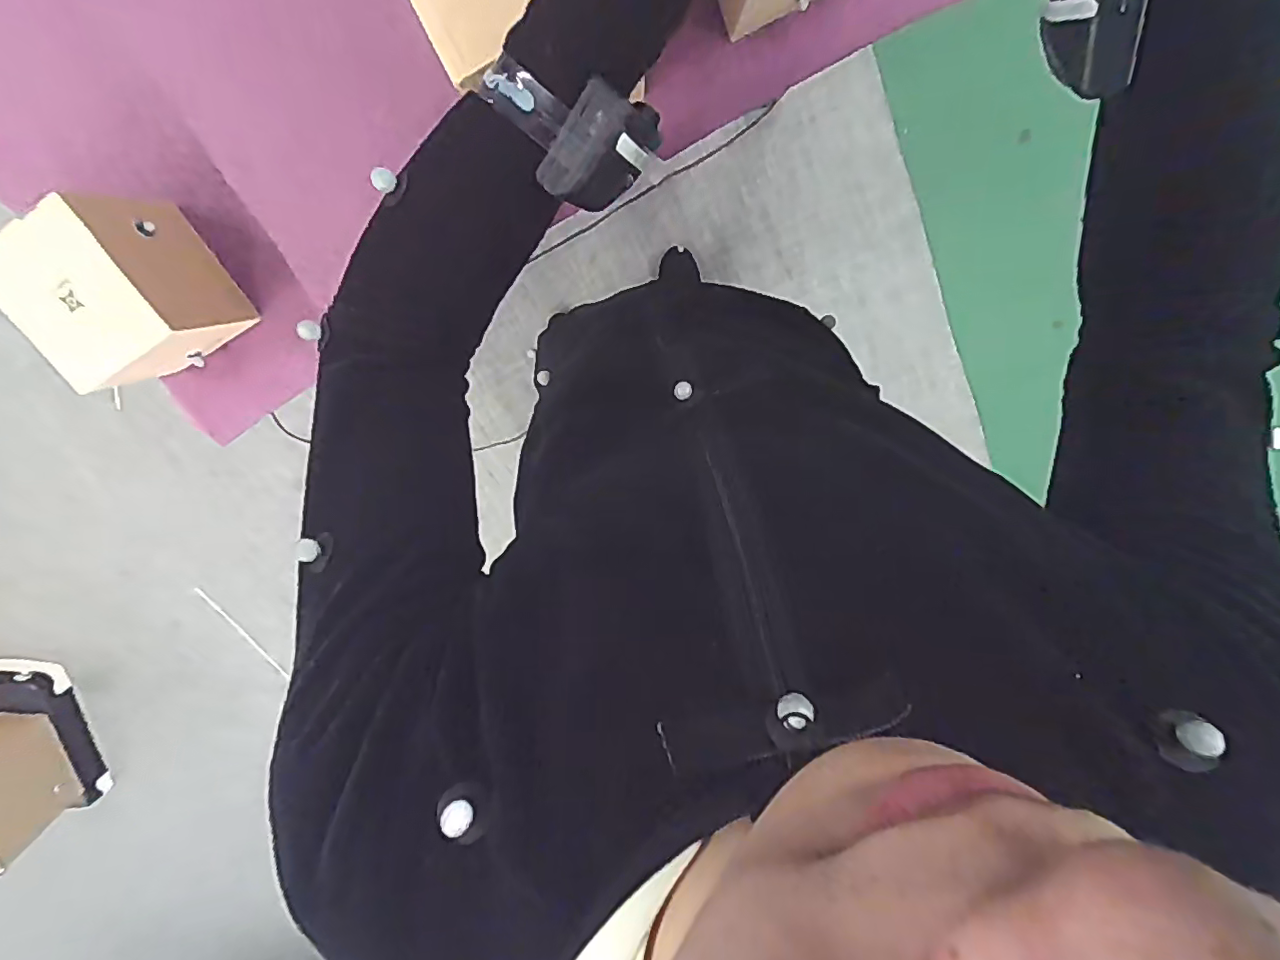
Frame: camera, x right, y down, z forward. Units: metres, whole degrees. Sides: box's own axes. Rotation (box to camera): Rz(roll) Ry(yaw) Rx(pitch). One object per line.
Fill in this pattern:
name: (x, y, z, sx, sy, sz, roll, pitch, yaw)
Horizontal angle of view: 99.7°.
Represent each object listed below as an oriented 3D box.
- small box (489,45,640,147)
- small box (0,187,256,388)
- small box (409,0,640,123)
small box: (-0.106, -0.500, 0.600, 0.168, 0.176, 0.179, -24, 109, 10)
small box: (-0.670, -0.247, 0.708, 0.168, 0.176, 0.179, -26, 110, 11)
small box: (-0.108, -0.440, 0.448, 0.168, 0.176, 0.179, -23, 110, 11)
